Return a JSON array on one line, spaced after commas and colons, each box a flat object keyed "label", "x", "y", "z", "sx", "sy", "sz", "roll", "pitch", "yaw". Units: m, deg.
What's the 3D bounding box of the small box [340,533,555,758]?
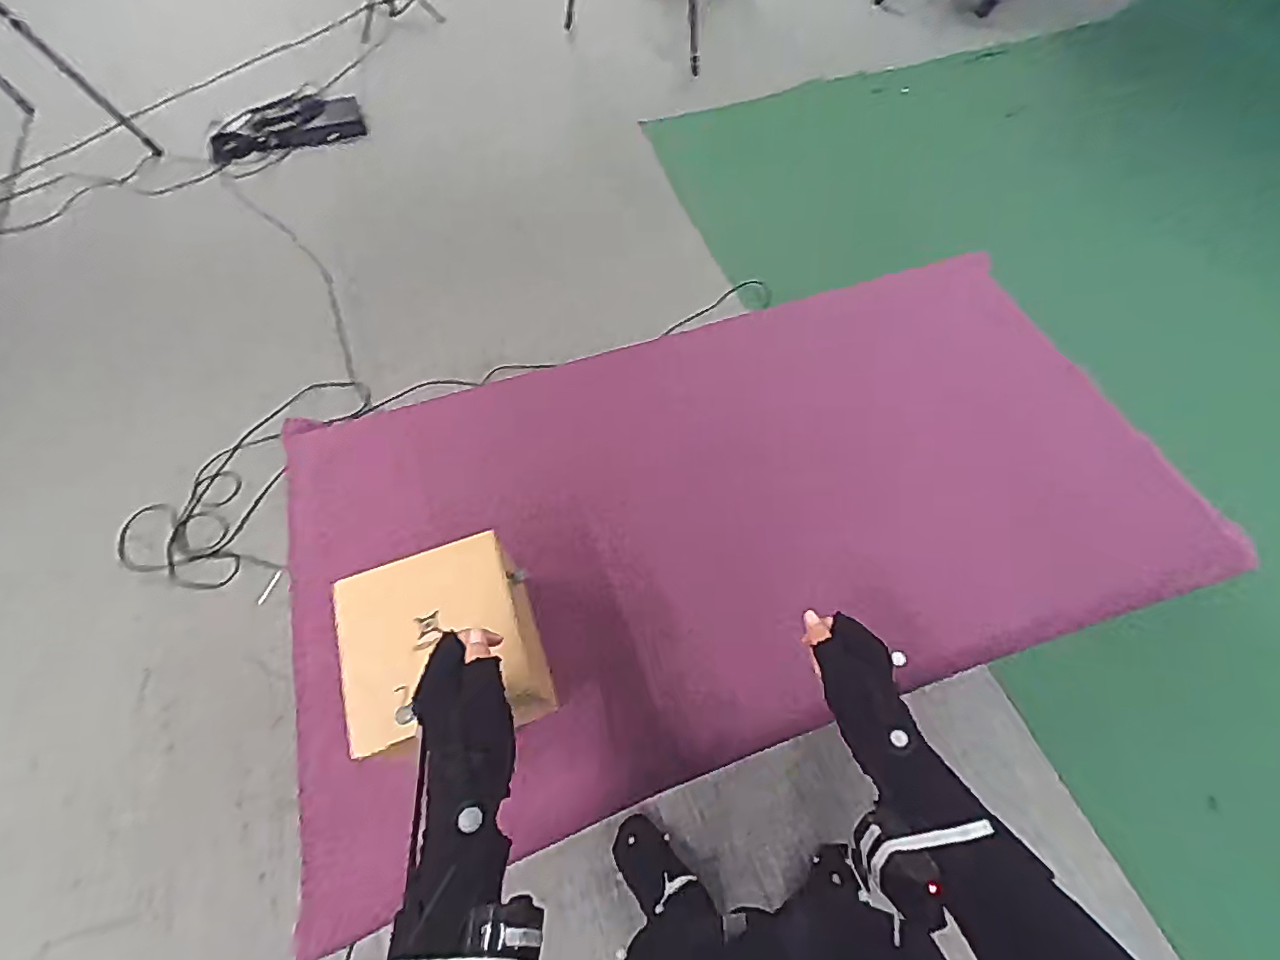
[{"label": "small box", "x": -0.204, "y": 0.189, "z": 0.601, "sx": 0.168, "sy": 0.176, "sz": 0.179, "roll": -19, "pitch": 63, "yaw": -9}]
